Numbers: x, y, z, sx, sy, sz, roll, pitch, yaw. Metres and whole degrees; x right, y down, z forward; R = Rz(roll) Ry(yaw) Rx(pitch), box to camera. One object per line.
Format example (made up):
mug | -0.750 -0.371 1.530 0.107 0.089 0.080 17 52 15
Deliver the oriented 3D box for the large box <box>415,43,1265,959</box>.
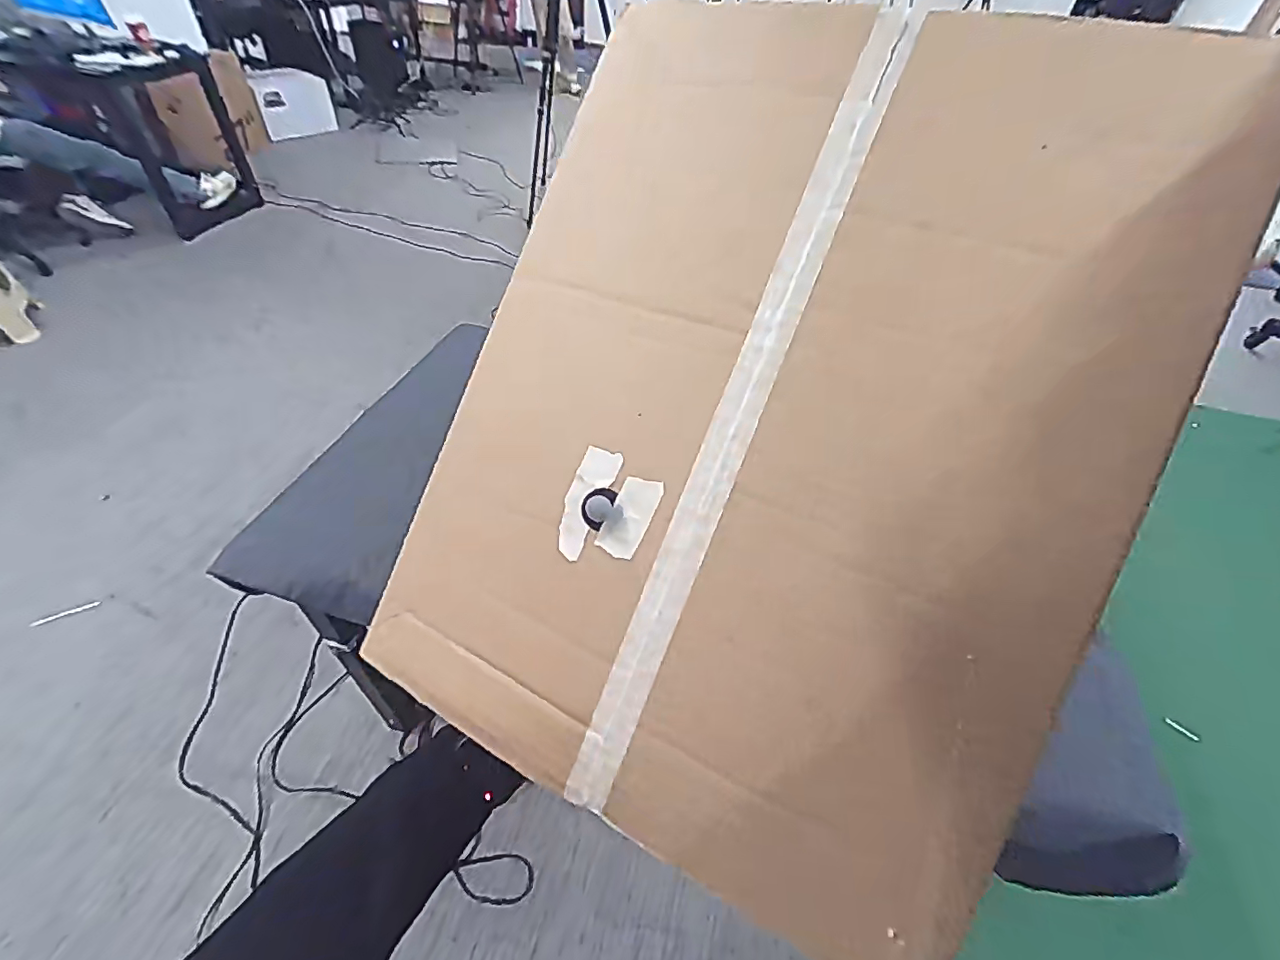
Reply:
large box | 0.108 -0.012 0.418 0.320 0.320 0.408 22 92 20
